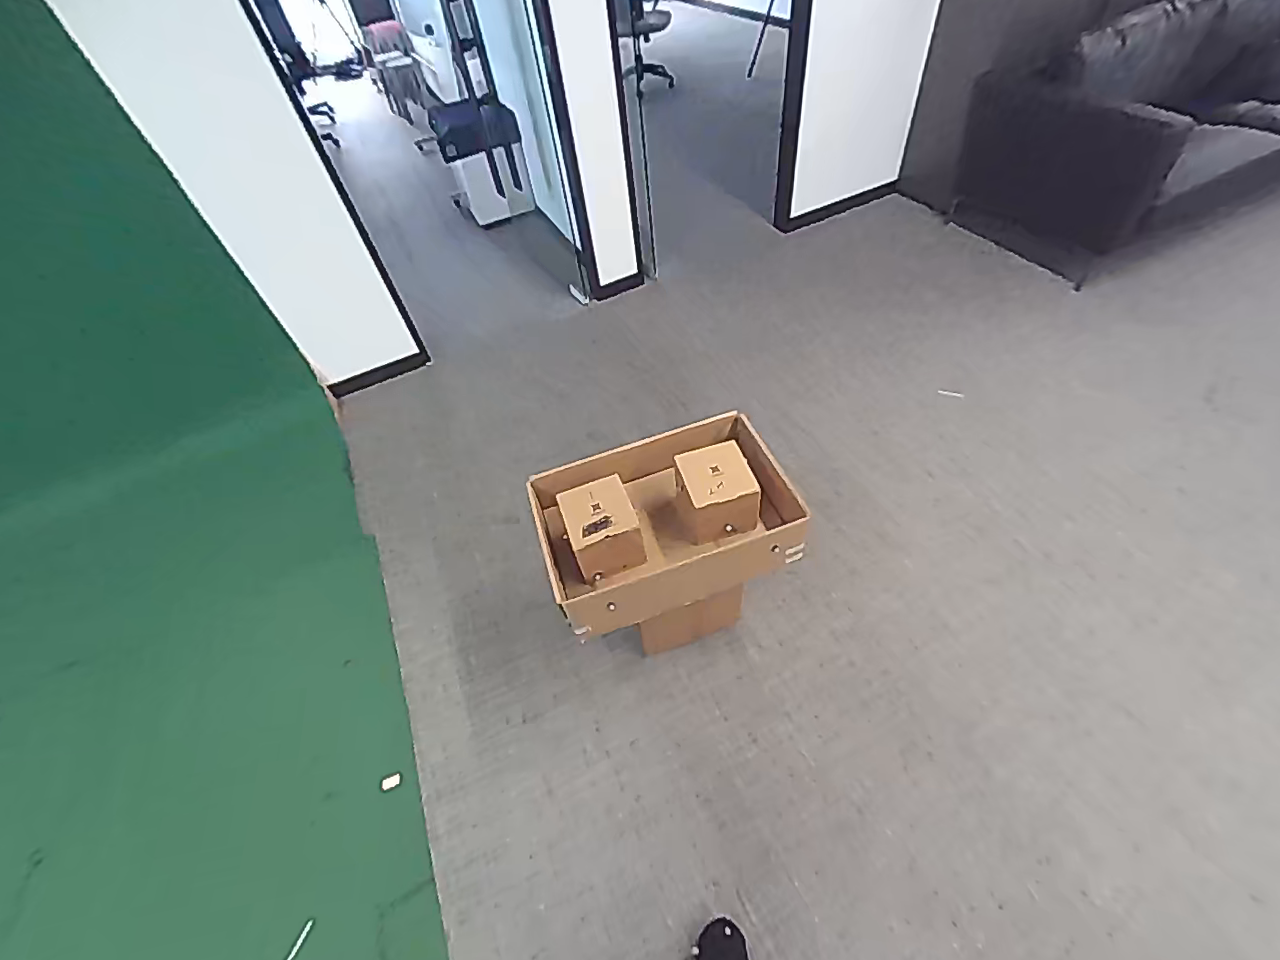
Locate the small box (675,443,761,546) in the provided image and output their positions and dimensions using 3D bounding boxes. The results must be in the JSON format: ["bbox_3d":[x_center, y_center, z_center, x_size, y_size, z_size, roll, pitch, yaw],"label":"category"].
[{"bbox_3d":[0.192,0.038,1.370,0.168,0.176,0.179,-15,51,-5],"label":"small box"}]
